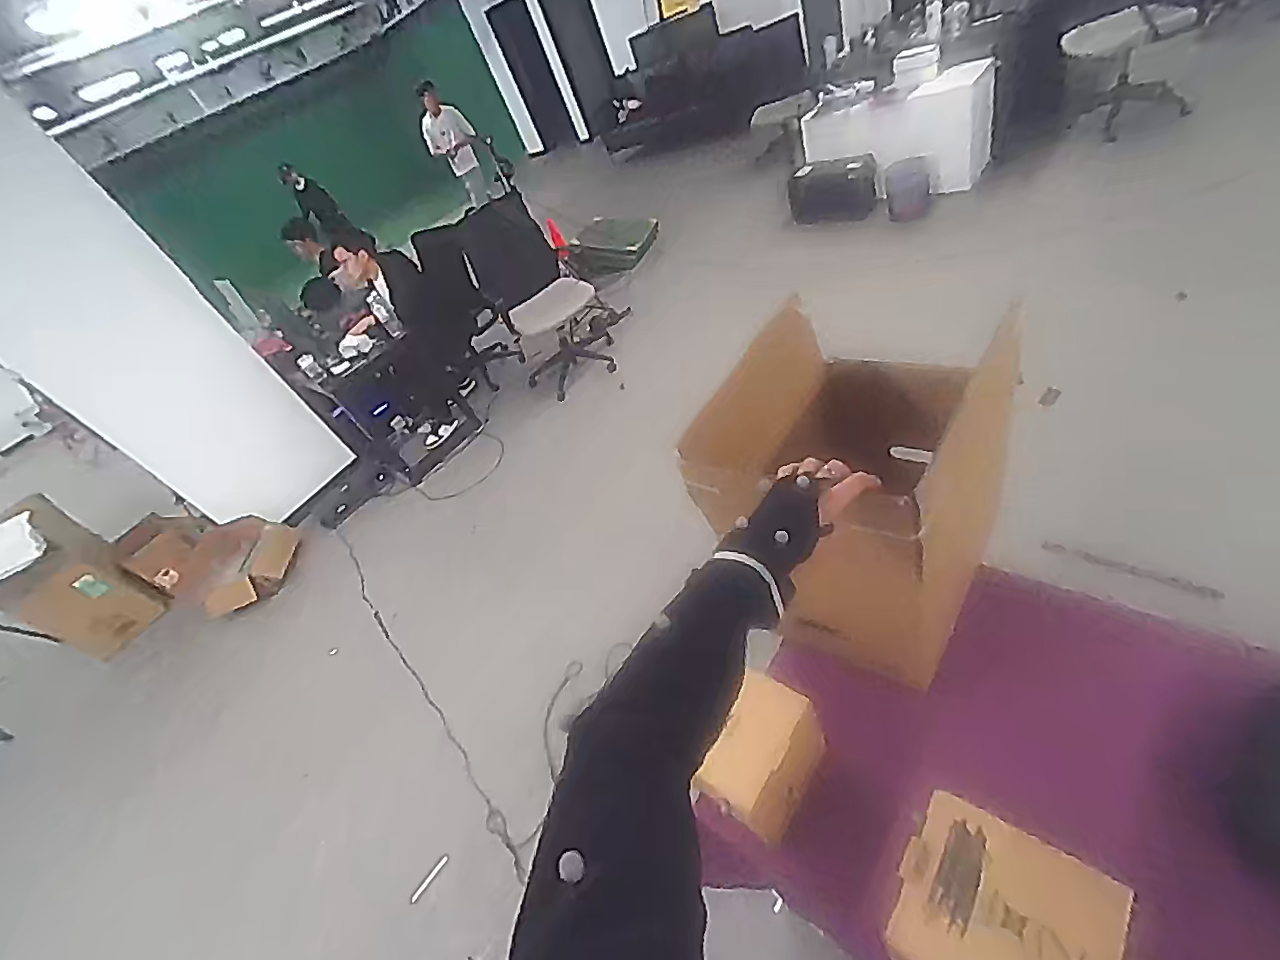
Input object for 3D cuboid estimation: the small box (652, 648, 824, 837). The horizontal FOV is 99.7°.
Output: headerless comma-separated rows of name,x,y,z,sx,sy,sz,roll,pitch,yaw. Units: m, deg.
small box,0.152,0.392,0.807,0.179,0.176,0.168,18,58,39
